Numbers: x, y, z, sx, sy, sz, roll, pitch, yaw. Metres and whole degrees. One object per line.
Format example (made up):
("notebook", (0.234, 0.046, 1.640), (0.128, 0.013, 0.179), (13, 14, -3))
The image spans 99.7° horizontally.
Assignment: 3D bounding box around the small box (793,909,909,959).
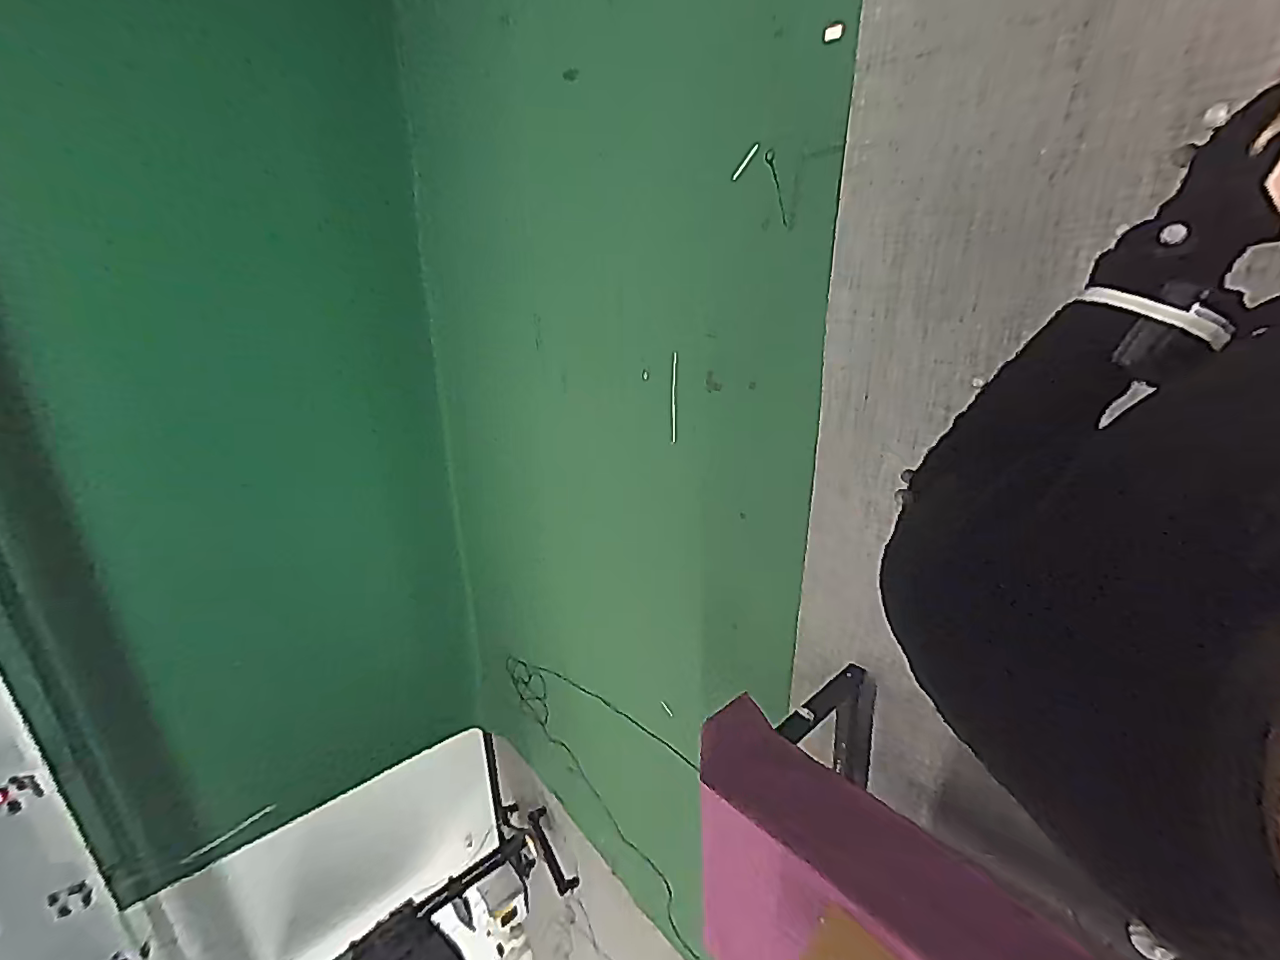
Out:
("small box", (0.406, 0.976, 1.030), (0.179, 0.176, 0.168), (19, 118, 45))
